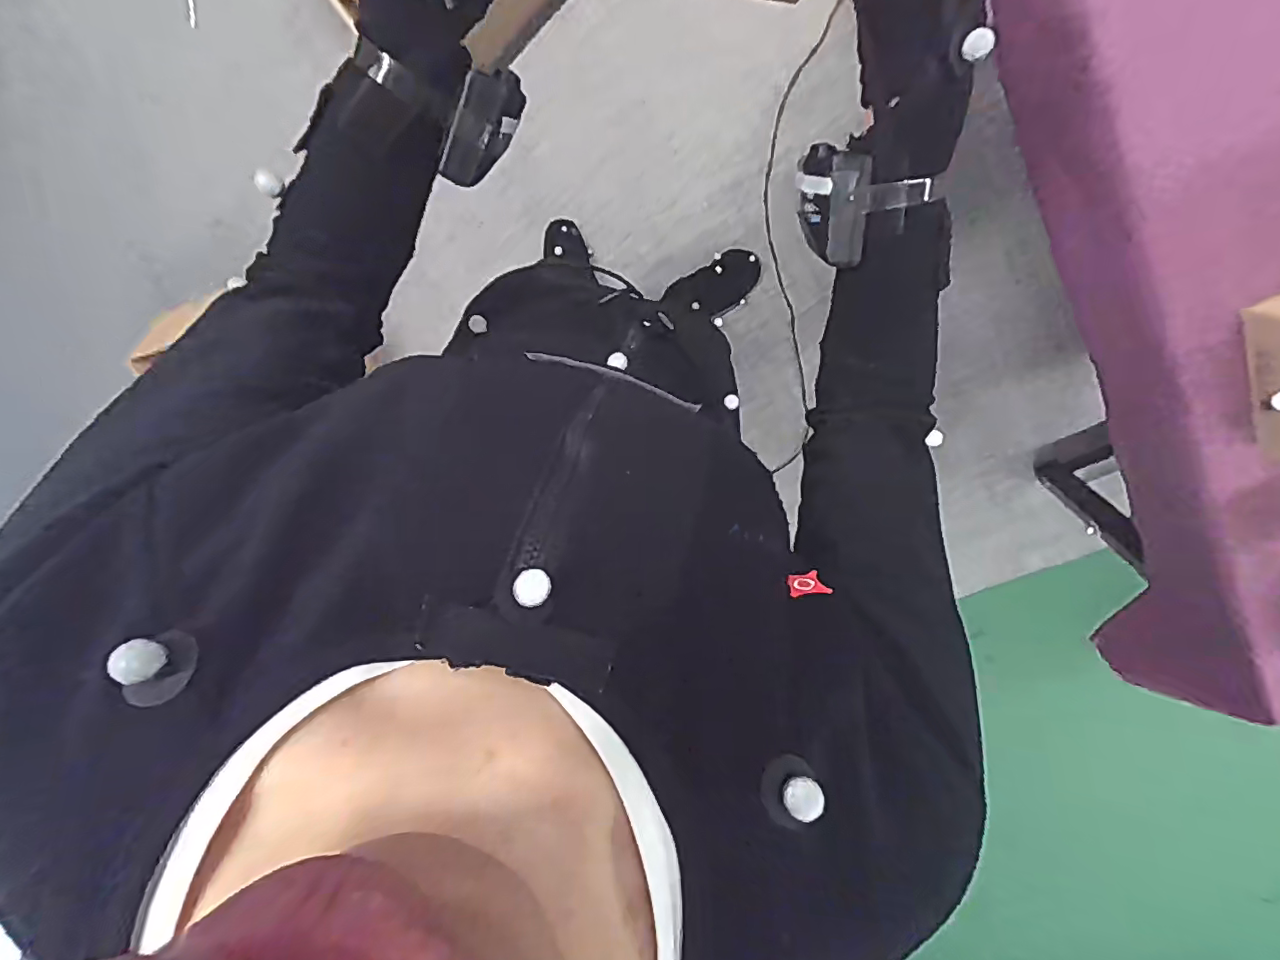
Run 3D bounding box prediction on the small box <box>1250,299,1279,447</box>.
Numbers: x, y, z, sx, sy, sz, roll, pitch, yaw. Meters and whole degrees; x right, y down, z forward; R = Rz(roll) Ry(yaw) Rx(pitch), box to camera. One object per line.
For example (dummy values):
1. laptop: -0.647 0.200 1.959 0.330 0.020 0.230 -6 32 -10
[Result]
1. small box: 0.708 -0.101 0.468 0.179 0.176 0.168 -22 110 20
